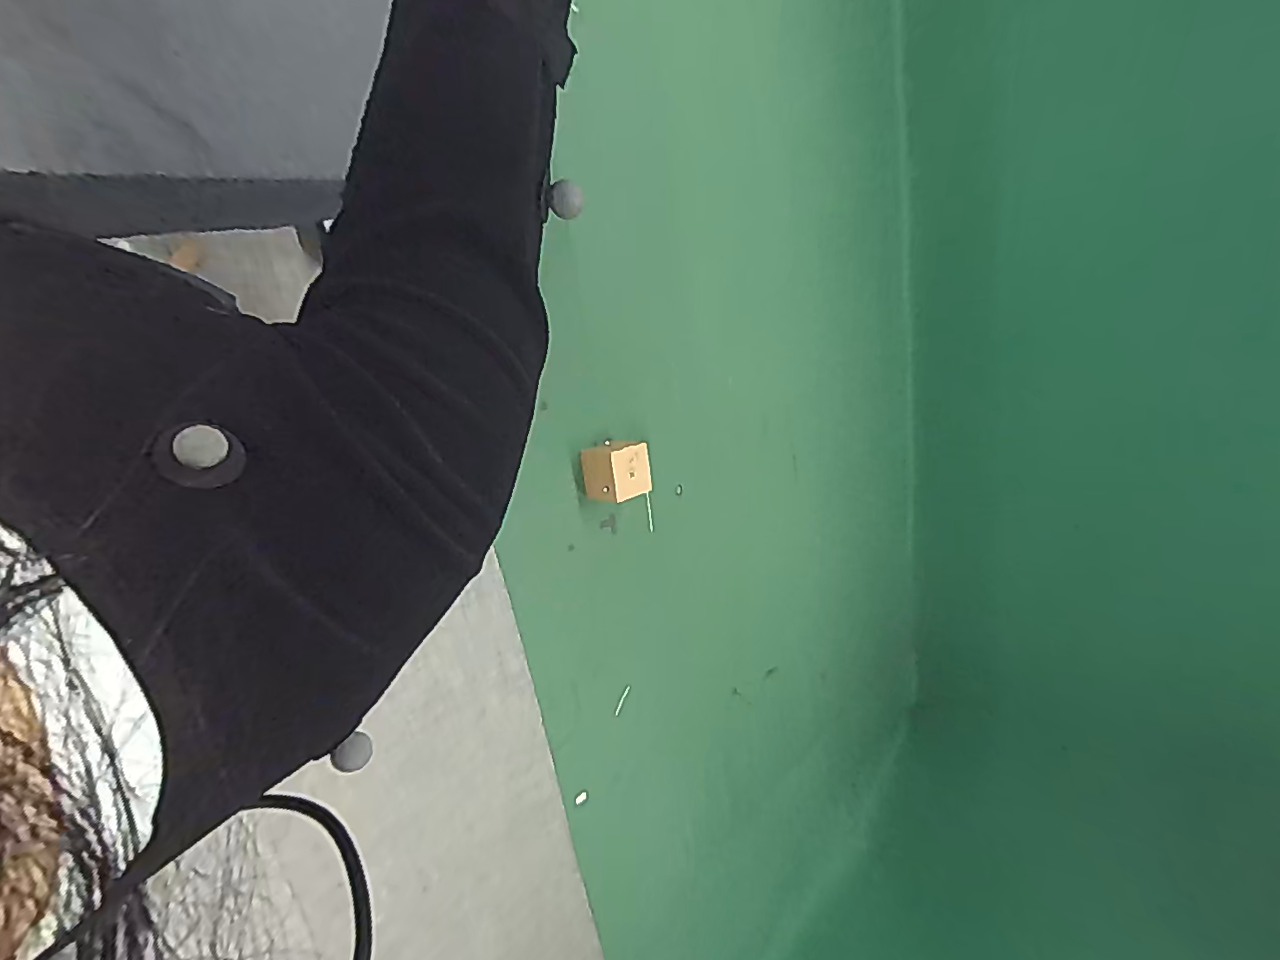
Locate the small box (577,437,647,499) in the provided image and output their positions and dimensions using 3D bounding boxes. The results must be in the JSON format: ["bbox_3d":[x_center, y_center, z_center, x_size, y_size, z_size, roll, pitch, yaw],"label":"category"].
[{"bbox_3d":[-0.098,-0.047,1.883,0.168,0.176,0.179,-20,108,-41],"label":"small box"}]
